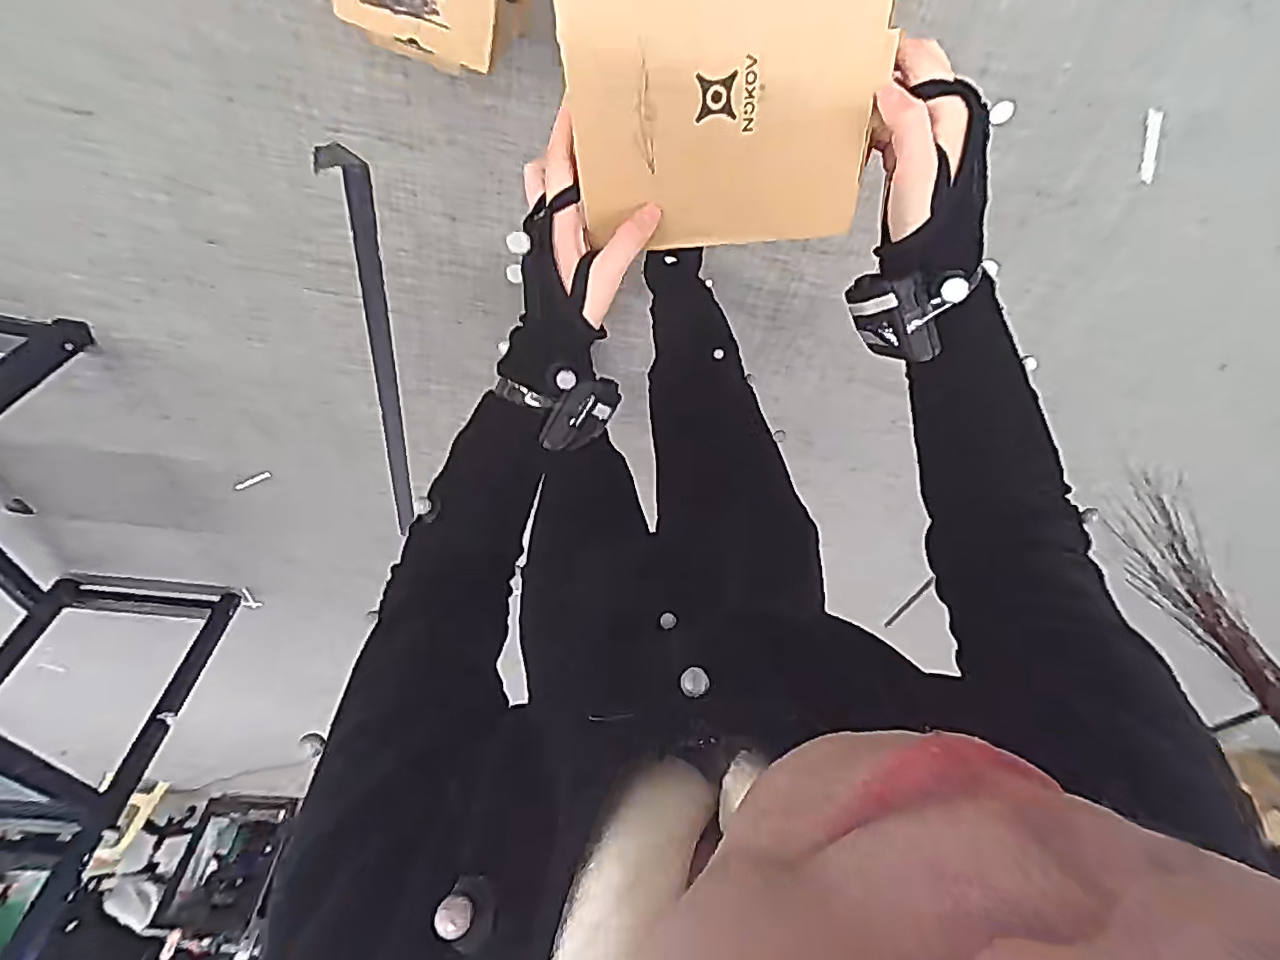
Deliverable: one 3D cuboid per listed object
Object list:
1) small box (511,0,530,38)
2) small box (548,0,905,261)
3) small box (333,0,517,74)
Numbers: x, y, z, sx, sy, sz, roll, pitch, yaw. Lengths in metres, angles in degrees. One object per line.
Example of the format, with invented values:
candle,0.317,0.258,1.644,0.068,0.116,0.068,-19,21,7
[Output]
small box,-0.229,-0.713,0.700,0.179,0.176,0.168,8,135,-12
small box,0.045,-0.260,0.345,0.179,0.176,0.168,-2,136,3
small box,-0.222,-0.590,0.590,0.168,0.176,0.179,12,134,-14
